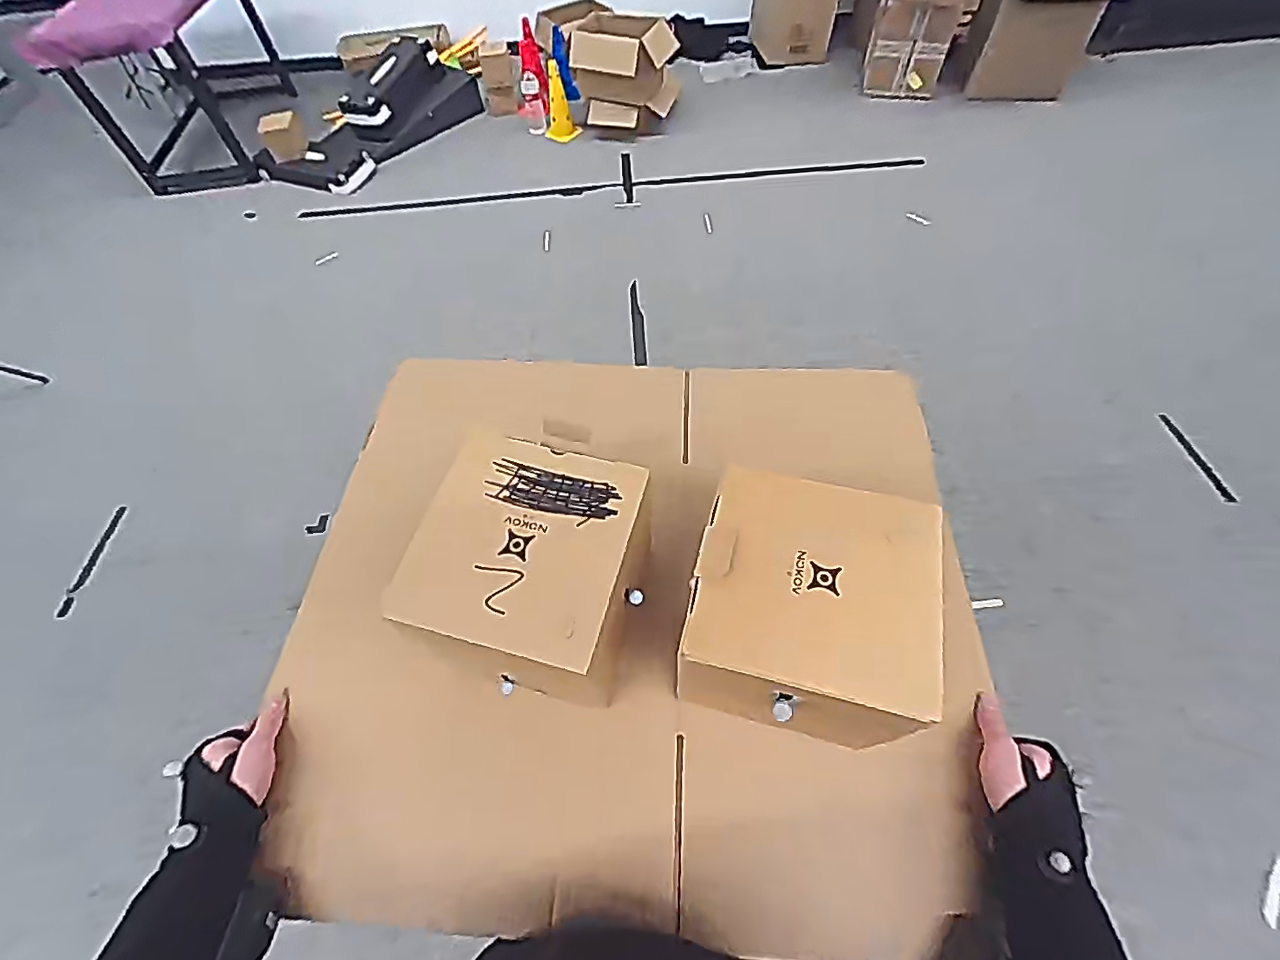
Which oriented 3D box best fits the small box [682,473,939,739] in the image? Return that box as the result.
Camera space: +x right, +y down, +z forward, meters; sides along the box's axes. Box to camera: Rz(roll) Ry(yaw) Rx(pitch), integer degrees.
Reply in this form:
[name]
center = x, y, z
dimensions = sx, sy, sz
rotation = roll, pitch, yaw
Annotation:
[small box]
center = 0.141, 0.119, 0.483
dimensions = 0.179, 0.176, 0.168
rotation = 12, 60, 12
